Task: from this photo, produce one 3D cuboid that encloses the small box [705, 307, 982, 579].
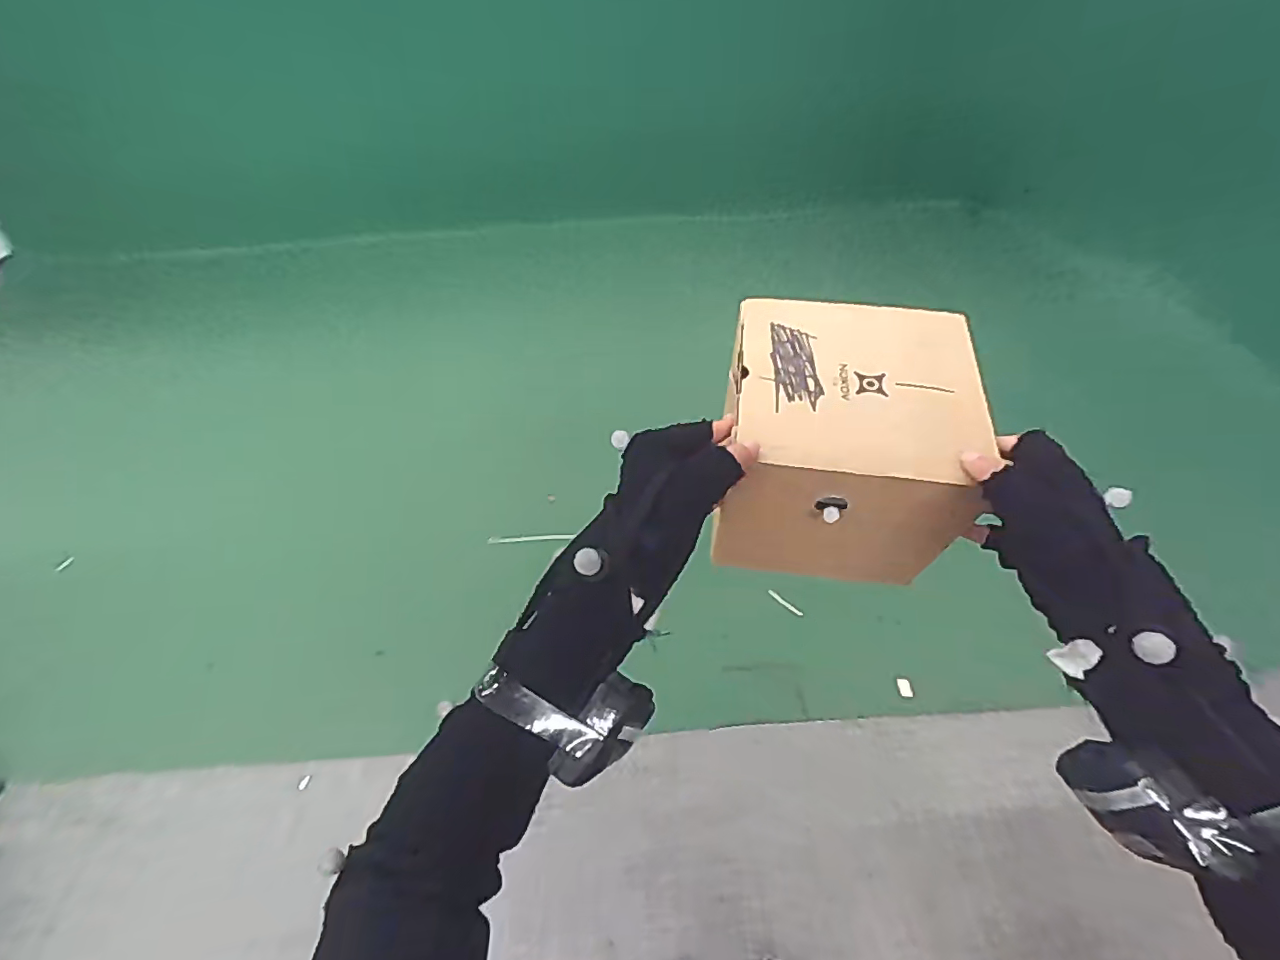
[{"bbox_3d":[0.151,-0.026,0.469,0.179,0.176,0.168,5,57,5],"label":"small box"}]
